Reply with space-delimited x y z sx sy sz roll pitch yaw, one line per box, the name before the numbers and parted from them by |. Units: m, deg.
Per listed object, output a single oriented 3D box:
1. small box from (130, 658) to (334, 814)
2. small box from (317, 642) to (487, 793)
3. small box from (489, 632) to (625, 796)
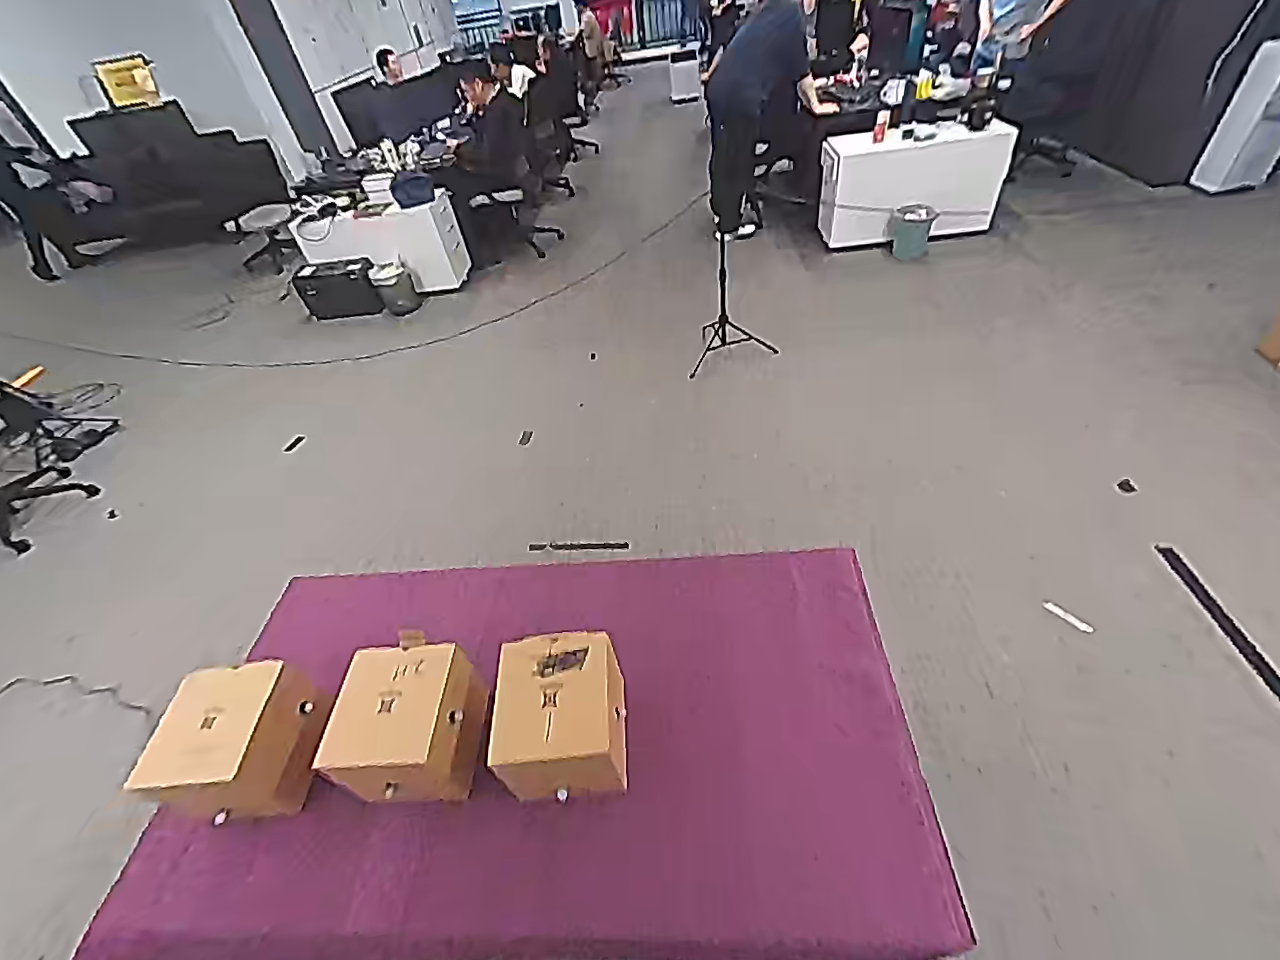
small box | -0.629 0.411 0.867 0.168 0.176 0.179 -6 44 4
small box | -0.356 0.379 0.853 0.168 0.176 0.179 -4 44 5
small box | -0.116 0.360 0.831 0.168 0.176 0.179 -7 45 3
